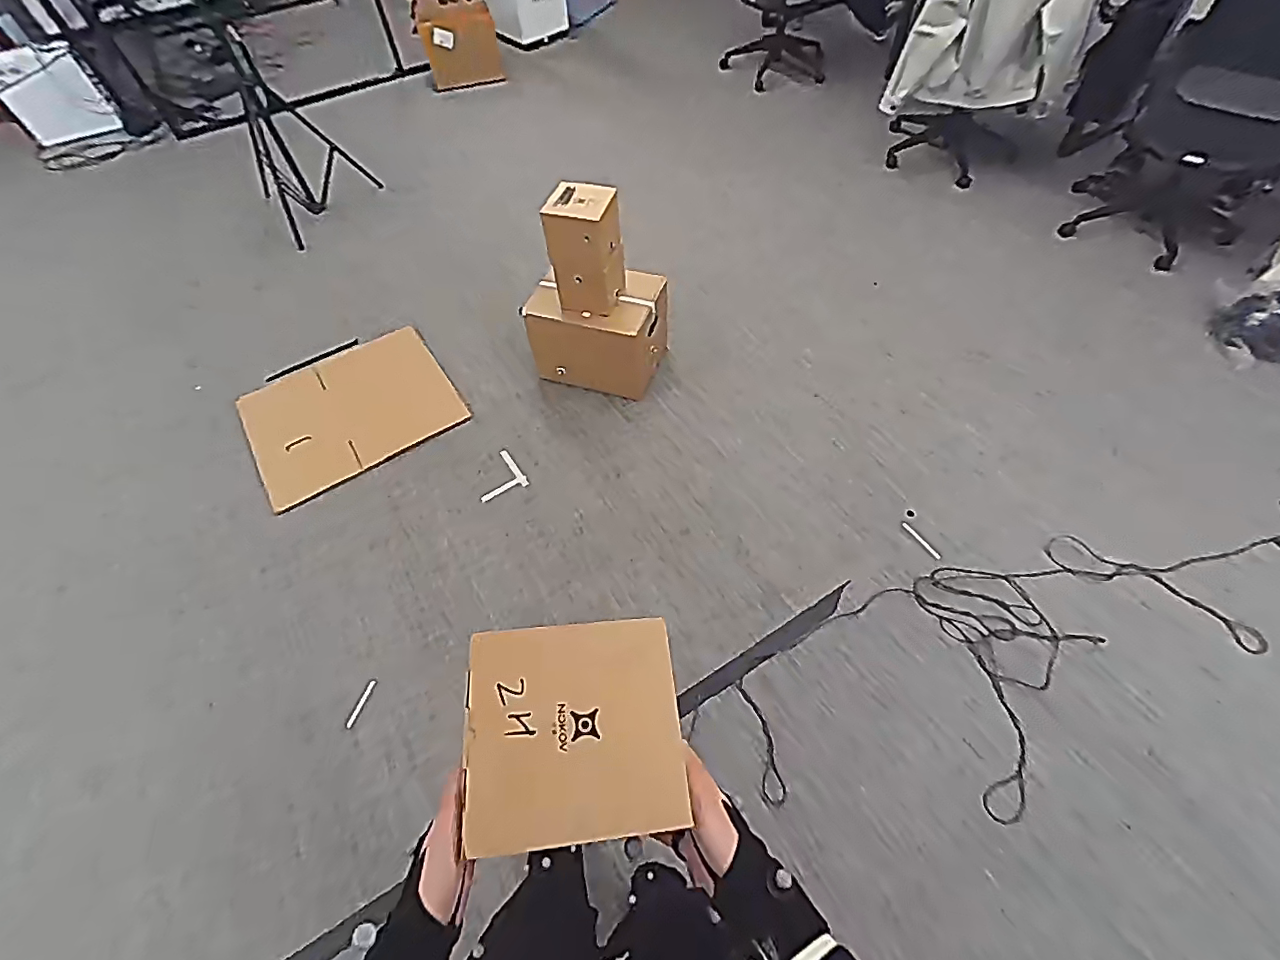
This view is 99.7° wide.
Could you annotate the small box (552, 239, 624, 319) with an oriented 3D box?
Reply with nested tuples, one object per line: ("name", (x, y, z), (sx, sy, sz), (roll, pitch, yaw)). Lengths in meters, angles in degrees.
("small box", (-0.160, -0.639, 1.726), (0.179, 0.176, 0.168), (13, 59, 10))

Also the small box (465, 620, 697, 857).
("small box", (-0.057, 0.238, 0.509), (0.179, 0.176, 0.168), (-2, 60, -8))
